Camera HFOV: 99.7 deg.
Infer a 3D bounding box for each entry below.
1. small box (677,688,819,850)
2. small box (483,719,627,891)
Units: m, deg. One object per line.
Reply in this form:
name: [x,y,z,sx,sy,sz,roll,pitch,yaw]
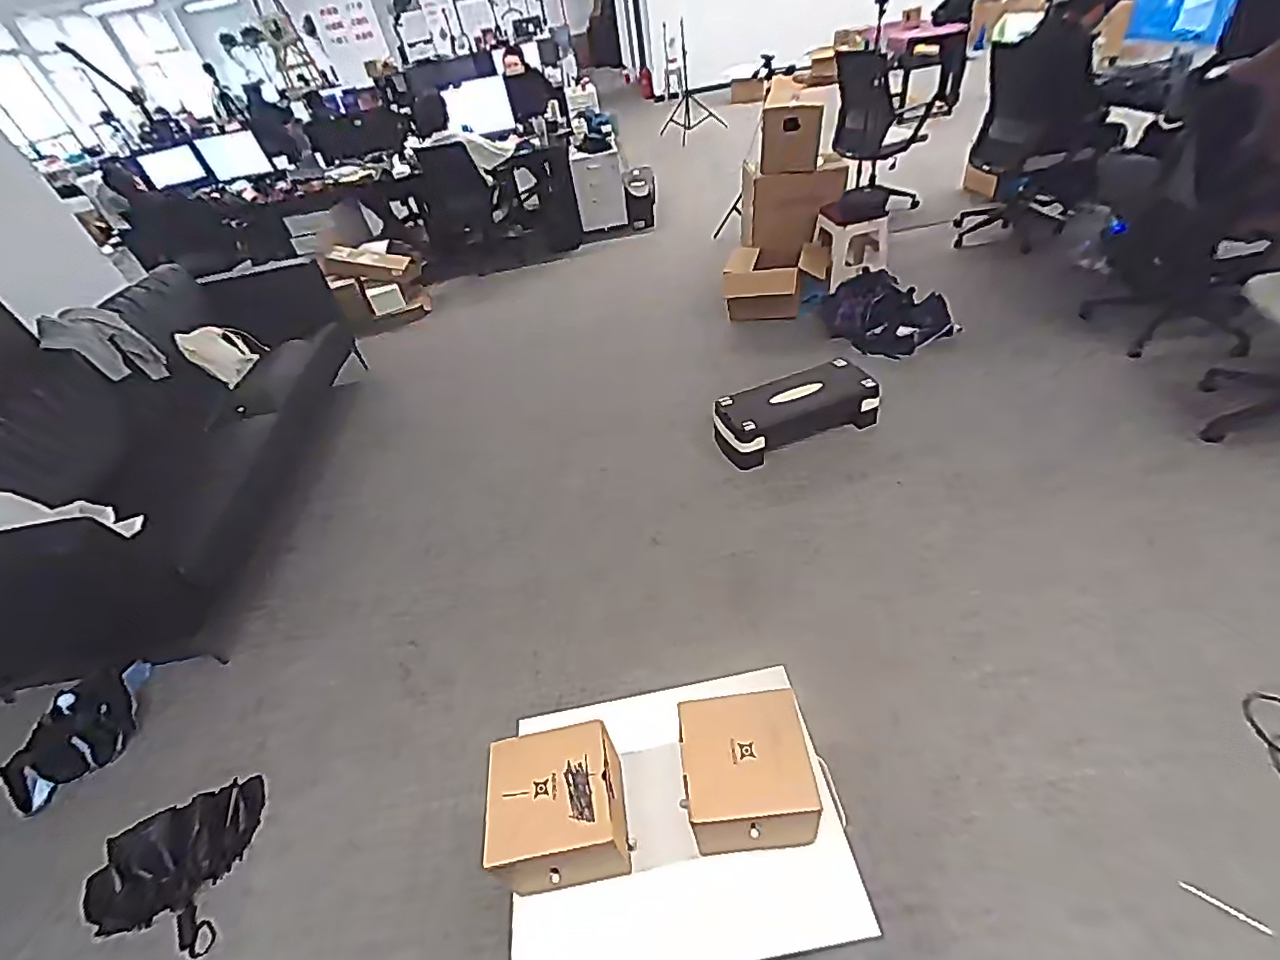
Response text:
small box: [0.157,0.438,0.815,0.179,0.176,0.168,-8,43,4]
small box: [-0.119,0.491,0.817,0.179,0.176,0.168,-12,41,0]
